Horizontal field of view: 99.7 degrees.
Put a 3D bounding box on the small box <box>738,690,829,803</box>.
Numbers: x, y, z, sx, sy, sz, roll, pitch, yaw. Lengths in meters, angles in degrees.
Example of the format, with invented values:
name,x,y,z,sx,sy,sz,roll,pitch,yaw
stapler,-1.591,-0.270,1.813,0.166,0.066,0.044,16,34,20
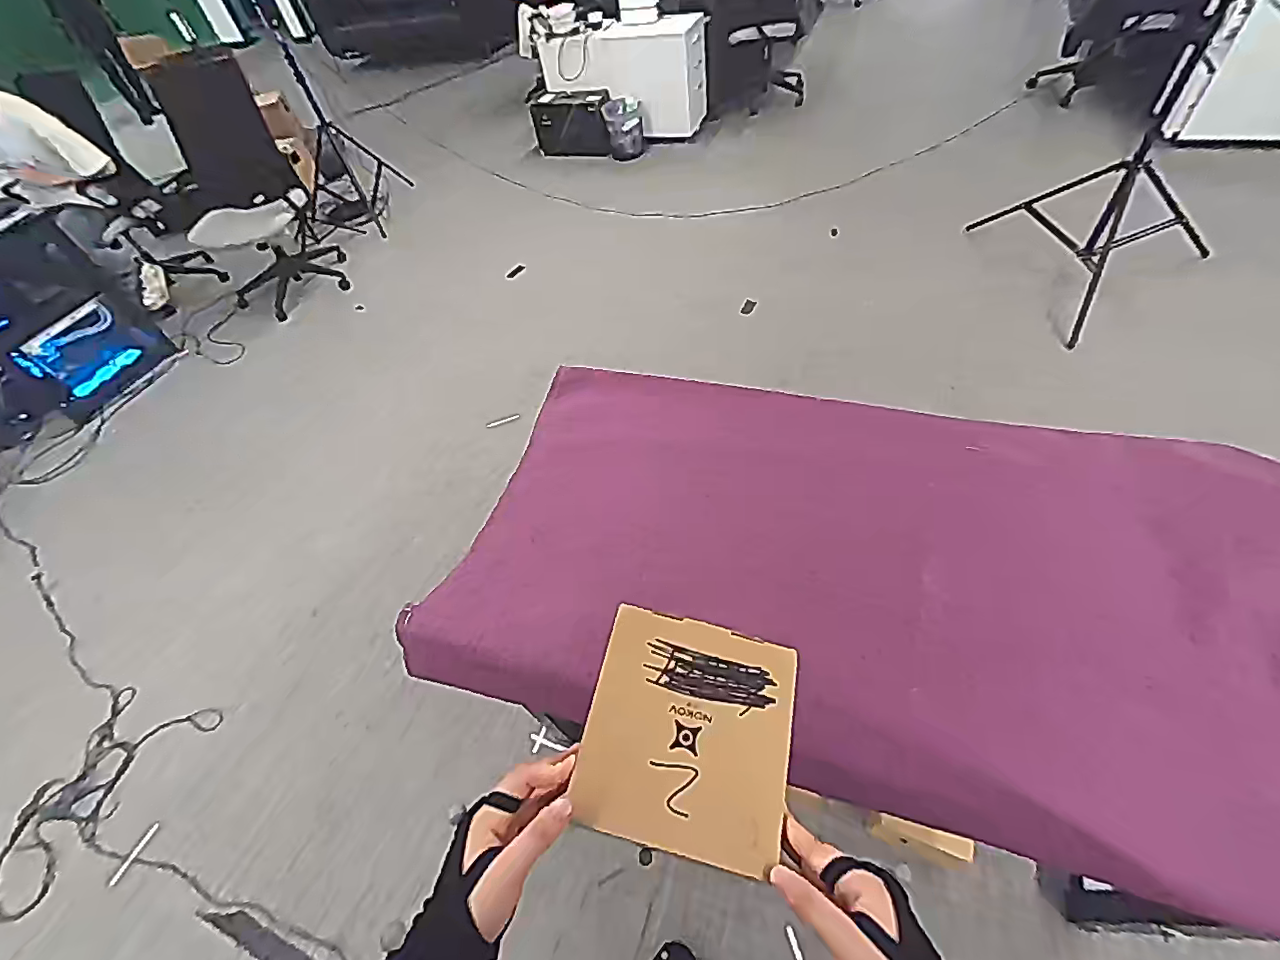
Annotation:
name,x,y,z,sx,sy,sz,roll,pitch,yaw
small box,0.331,0.622,1.254,0.168,0.176,0.179,13,54,18

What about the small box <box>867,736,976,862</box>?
name,x,y,z,sx,sy,sz,roll,pitch,yaw
small box,0.597,0.688,1.161,0.168,0.176,0.179,15,55,20
